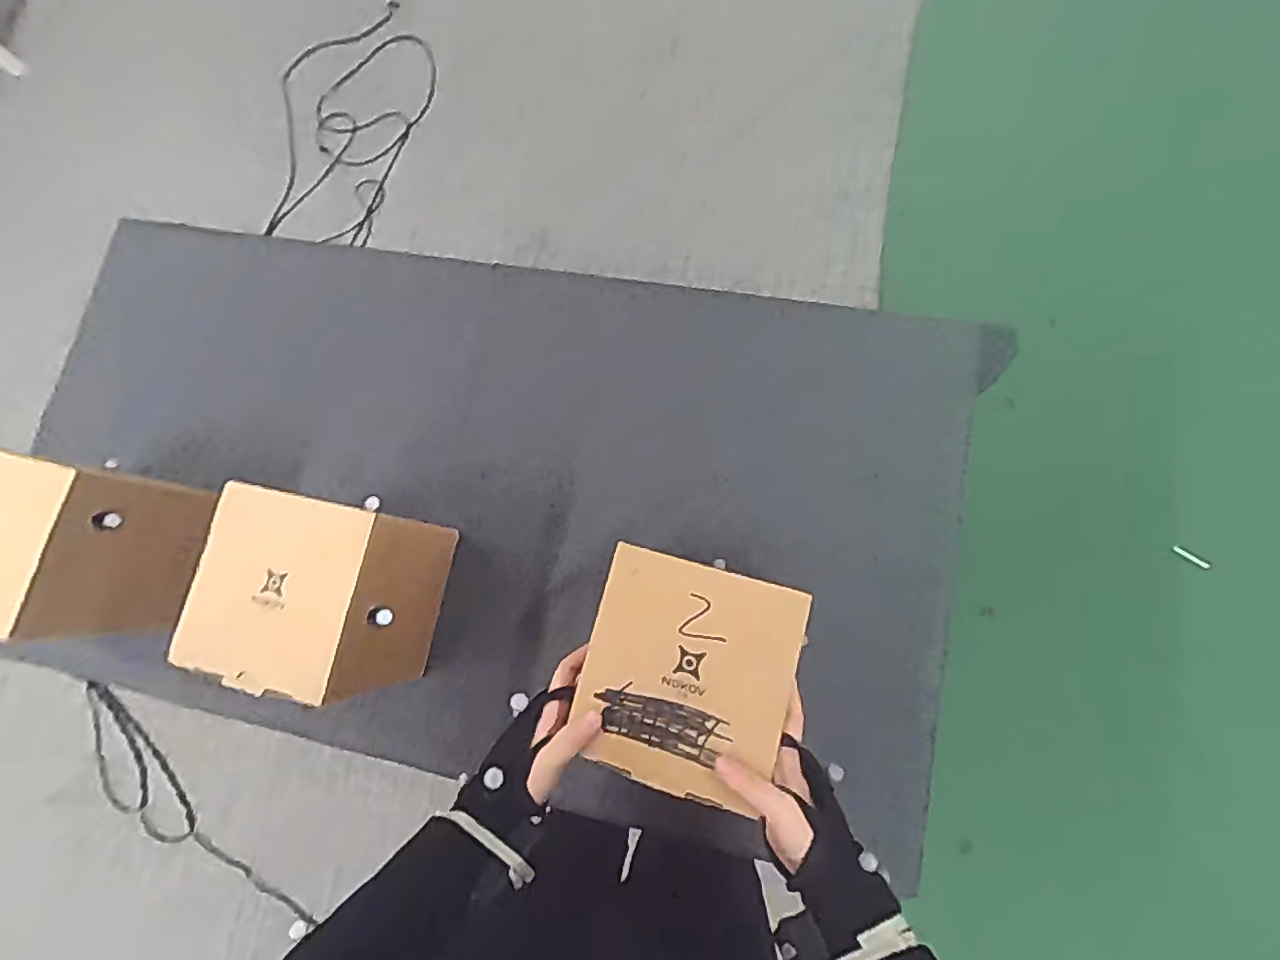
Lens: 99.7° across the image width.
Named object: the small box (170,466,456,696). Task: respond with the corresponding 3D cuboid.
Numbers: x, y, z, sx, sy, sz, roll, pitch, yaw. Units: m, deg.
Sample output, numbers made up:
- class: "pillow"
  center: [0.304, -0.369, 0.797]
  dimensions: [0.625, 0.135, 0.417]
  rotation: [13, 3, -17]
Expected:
- class: "small box"
  center: [-0.316, 0.101, 0.565]
  dimensions: [0.168, 0.176, 0.179]
  rotation: [12, 81, 9]
